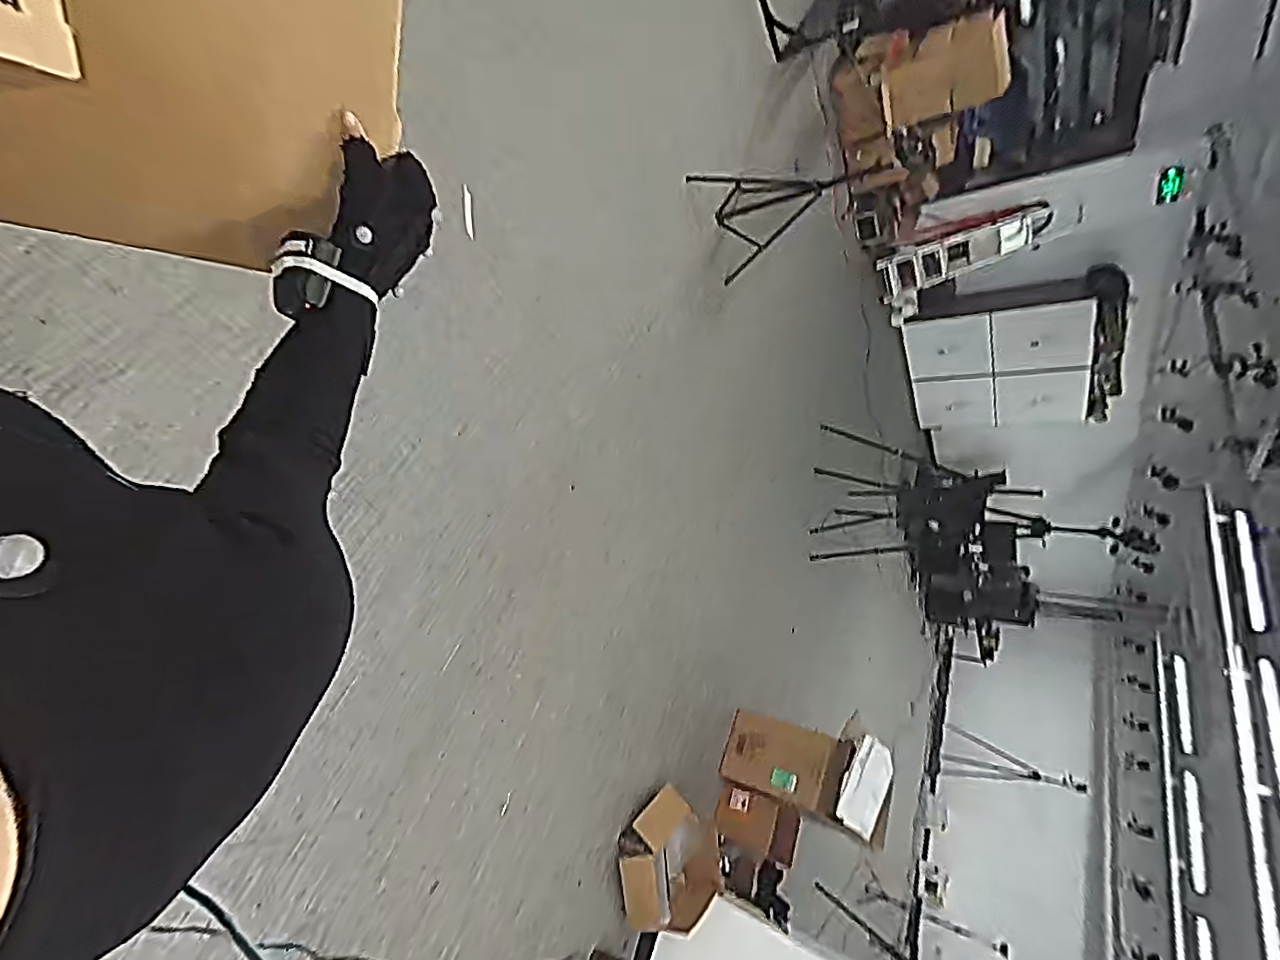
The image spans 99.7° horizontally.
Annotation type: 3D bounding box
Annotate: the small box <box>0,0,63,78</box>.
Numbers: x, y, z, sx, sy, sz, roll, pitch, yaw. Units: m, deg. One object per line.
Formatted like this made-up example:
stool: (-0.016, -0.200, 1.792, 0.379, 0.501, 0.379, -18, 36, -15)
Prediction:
small box: (-0.464, -0.327, 0.269, 0.179, 0.176, 0.168, -33, 130, -62)
